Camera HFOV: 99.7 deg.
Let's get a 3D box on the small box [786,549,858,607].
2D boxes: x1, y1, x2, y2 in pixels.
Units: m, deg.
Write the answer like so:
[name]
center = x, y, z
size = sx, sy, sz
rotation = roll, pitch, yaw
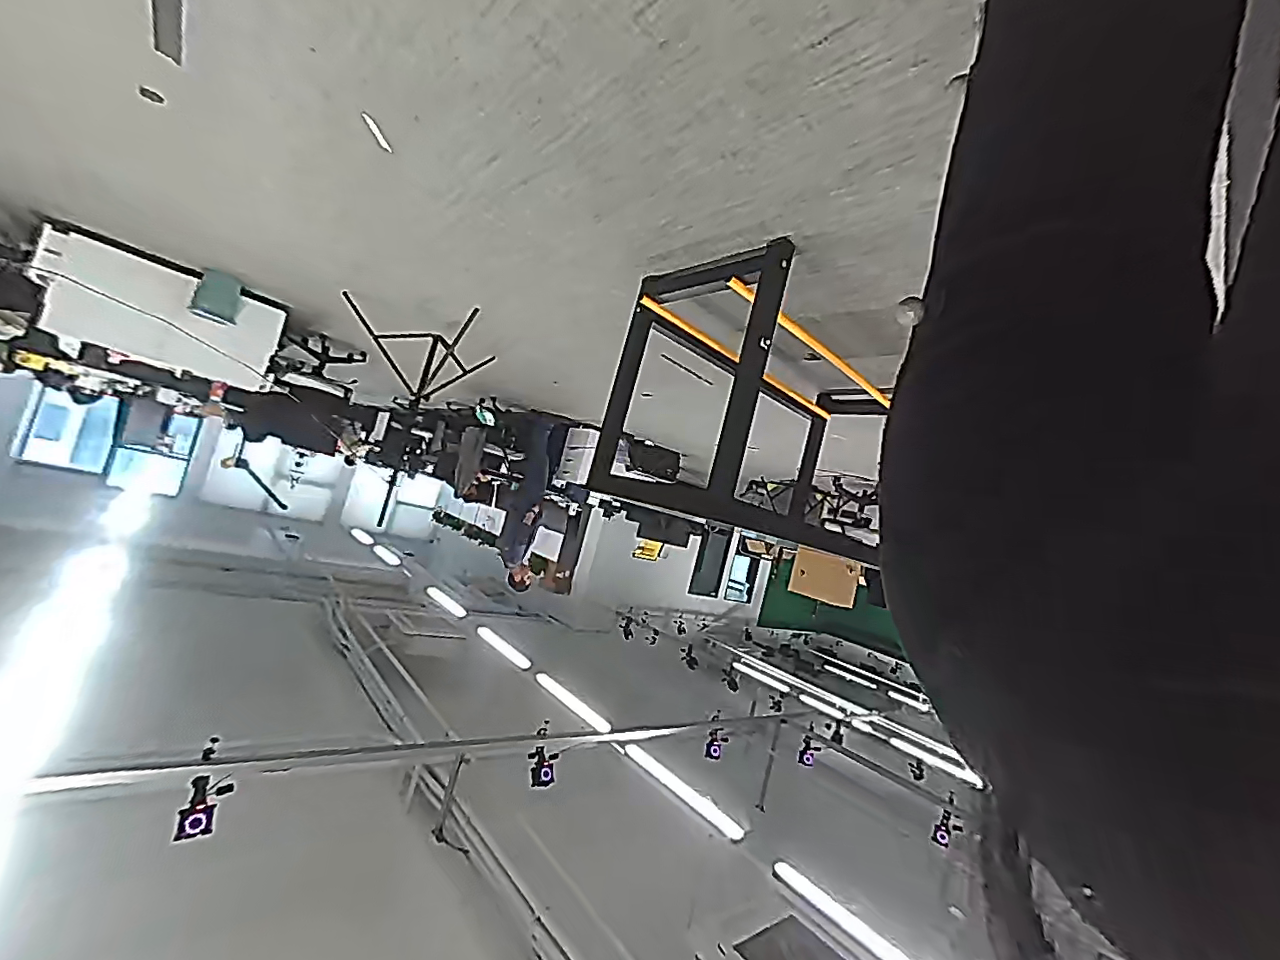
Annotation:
[small box]
center = 0.667, 0.352, 1.973
size = 0.168, 0.176, 0.179
rotation = 17, 175, -40
